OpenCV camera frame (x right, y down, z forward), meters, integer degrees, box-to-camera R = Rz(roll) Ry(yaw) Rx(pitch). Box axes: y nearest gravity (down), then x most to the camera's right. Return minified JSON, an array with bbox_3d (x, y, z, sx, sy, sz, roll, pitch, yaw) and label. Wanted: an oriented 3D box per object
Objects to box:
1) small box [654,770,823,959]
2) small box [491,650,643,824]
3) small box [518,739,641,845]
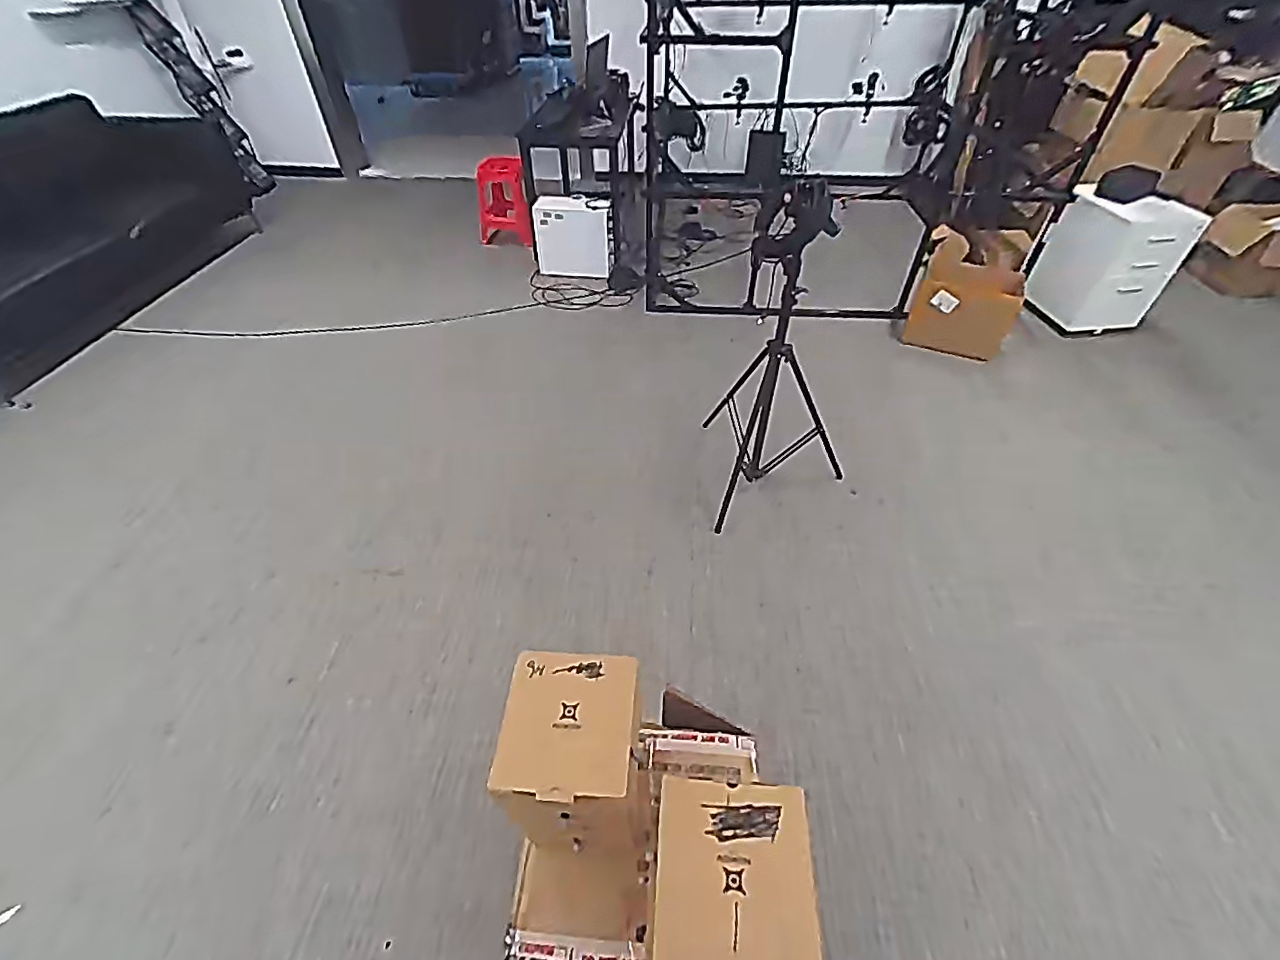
[{"bbox_3d":[0.104,0.465,0.635,0.168,0.176,0.179,2,47,4],"label":"small box"},{"bbox_3d":[-0.085,0.355,0.742,0.168,0.176,0.179,2,47,4],"label":"small box"},{"bbox_3d":[-0.085,0.462,0.868,0.168,0.176,0.179,0,47,4],"label":"small box"}]
